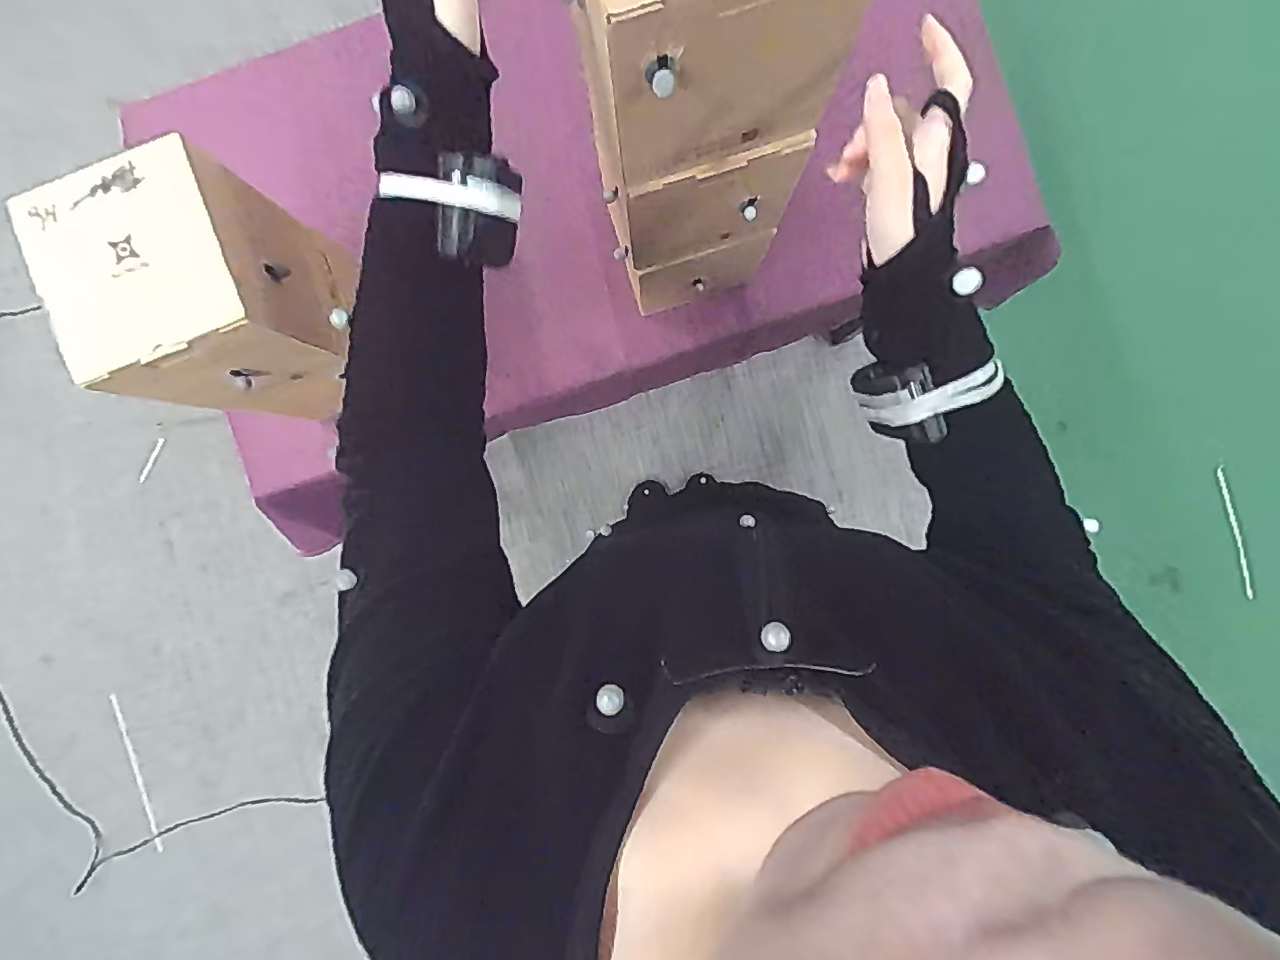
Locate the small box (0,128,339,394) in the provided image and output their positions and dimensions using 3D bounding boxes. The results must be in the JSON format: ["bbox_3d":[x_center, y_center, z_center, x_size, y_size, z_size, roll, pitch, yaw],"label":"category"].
[{"bbox_3d":[-0.445,-0.195,0.544,0.168,0.176,0.179,-21,91,1],"label":"small box"}]

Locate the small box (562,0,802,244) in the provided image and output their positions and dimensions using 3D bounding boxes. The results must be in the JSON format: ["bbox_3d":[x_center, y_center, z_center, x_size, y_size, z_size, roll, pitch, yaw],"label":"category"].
[{"bbox_3d":[0.037,-0.351,0.520,0.168,0.176,0.179,-16,91,2],"label":"small box"}]

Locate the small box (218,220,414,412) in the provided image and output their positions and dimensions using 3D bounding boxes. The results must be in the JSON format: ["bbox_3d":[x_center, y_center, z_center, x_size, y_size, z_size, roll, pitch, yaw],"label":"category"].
[{"bbox_3d":[-0.434,-0.197,0.708,0.179,0.176,0.168,-21,90,2],"label":"small box"}]

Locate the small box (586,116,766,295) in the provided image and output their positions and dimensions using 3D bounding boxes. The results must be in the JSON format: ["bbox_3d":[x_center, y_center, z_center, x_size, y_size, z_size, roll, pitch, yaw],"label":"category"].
[{"bbox_3d":[0.044,-0.352,0.683,0.168,0.176,0.179,-18,91,2],"label":"small box"}]
